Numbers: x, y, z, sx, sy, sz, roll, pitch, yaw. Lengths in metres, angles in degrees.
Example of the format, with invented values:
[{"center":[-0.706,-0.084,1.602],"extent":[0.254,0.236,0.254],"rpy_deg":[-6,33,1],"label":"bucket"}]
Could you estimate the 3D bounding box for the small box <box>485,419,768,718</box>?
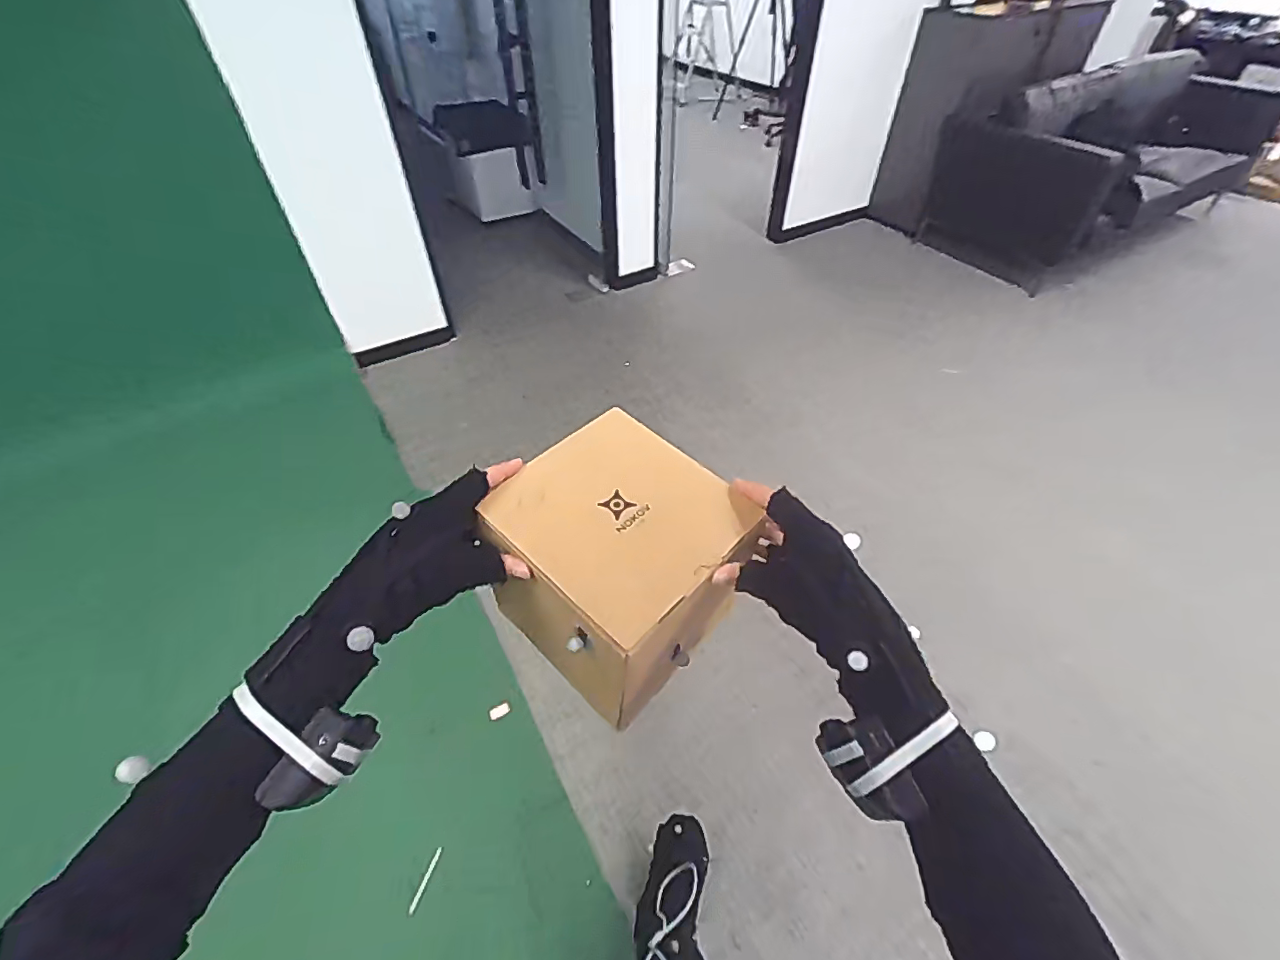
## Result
[{"center":[-0.017,0.081,0.498],"extent":[0.179,0.176,0.168],"rpy_deg":[37,56,24],"label":"small box"}]
